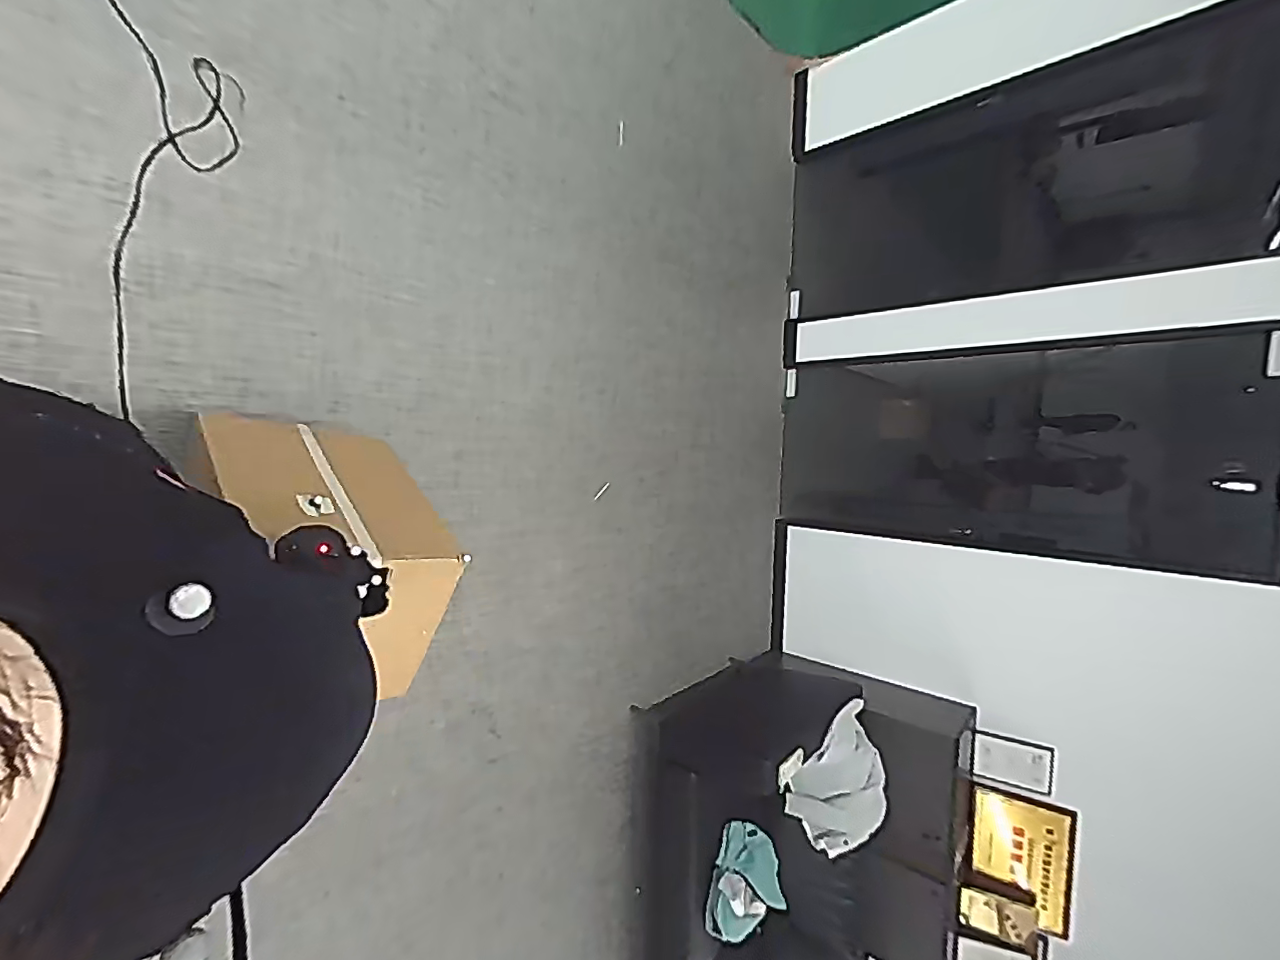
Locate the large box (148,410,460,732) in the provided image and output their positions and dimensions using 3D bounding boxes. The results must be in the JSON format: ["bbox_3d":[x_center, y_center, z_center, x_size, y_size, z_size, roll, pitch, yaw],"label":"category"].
[{"bbox_3d":[-0.584,0.131,0.924,0.320,0.408,0.320,6,120,-51],"label":"large box"}]
